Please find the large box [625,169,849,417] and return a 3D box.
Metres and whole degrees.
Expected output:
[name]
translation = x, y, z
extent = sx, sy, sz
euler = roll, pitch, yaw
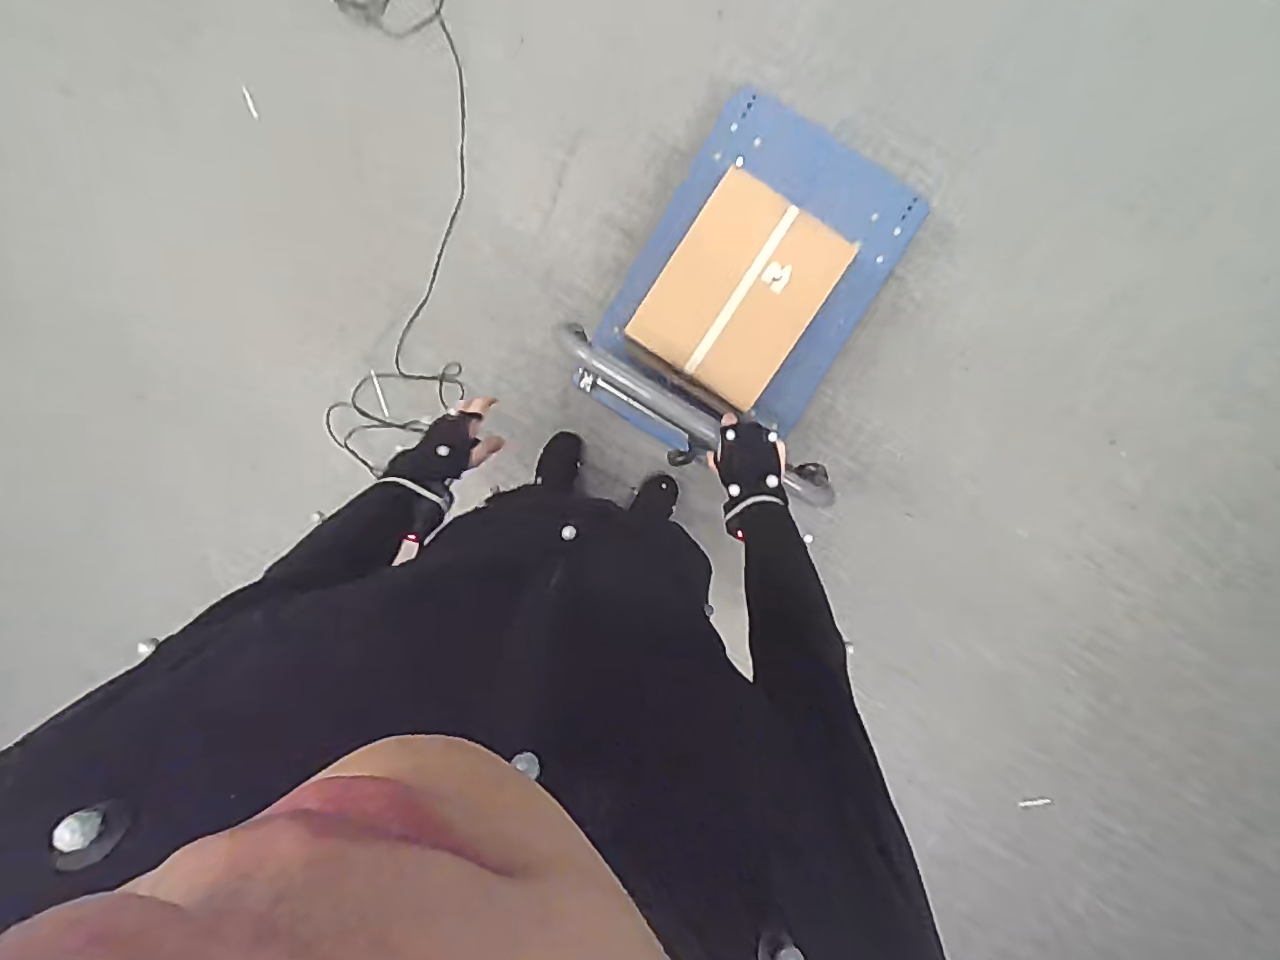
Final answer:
[large box]
translation = 0.200, -0.398, 1.266
extent = 0.320, 0.320, 0.408
euler = 34, 95, -3
